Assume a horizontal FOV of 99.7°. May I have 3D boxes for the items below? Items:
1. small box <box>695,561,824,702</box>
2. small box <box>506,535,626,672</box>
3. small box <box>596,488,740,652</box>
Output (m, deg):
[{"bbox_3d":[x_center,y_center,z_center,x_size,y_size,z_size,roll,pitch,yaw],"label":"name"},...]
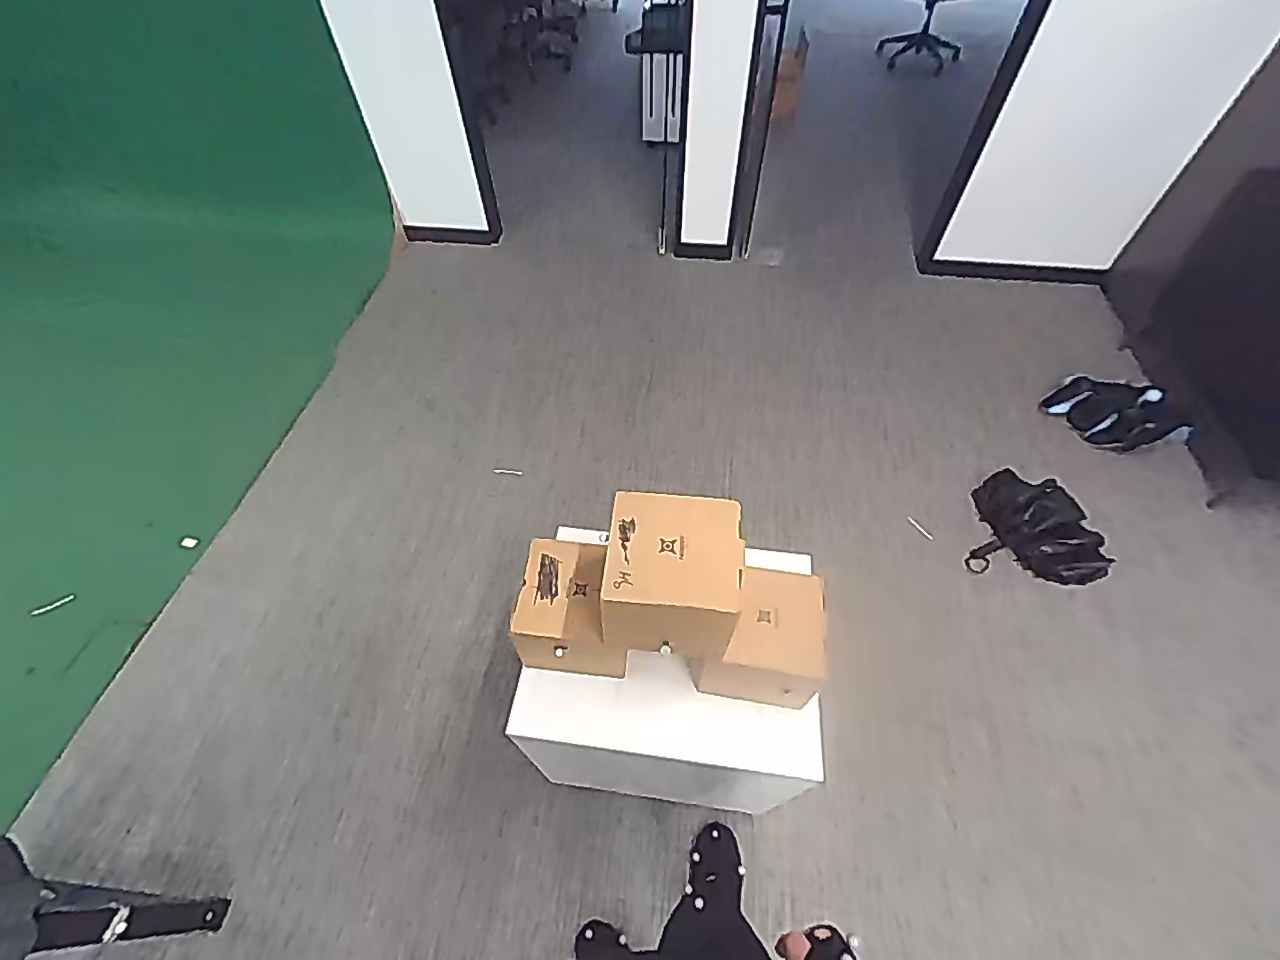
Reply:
[{"bbox_3d":[0.188,0.249,0.879,0.179,0.176,0.168,6,53,7],"label":"small box"},{"bbox_3d":[-0.107,0.210,0.905,0.179,0.176,0.168,6,54,2],"label":"small box"},{"bbox_3d":[0.038,0.132,0.762,0.179,0.176,0.168,5,54,2],"label":"small box"}]
